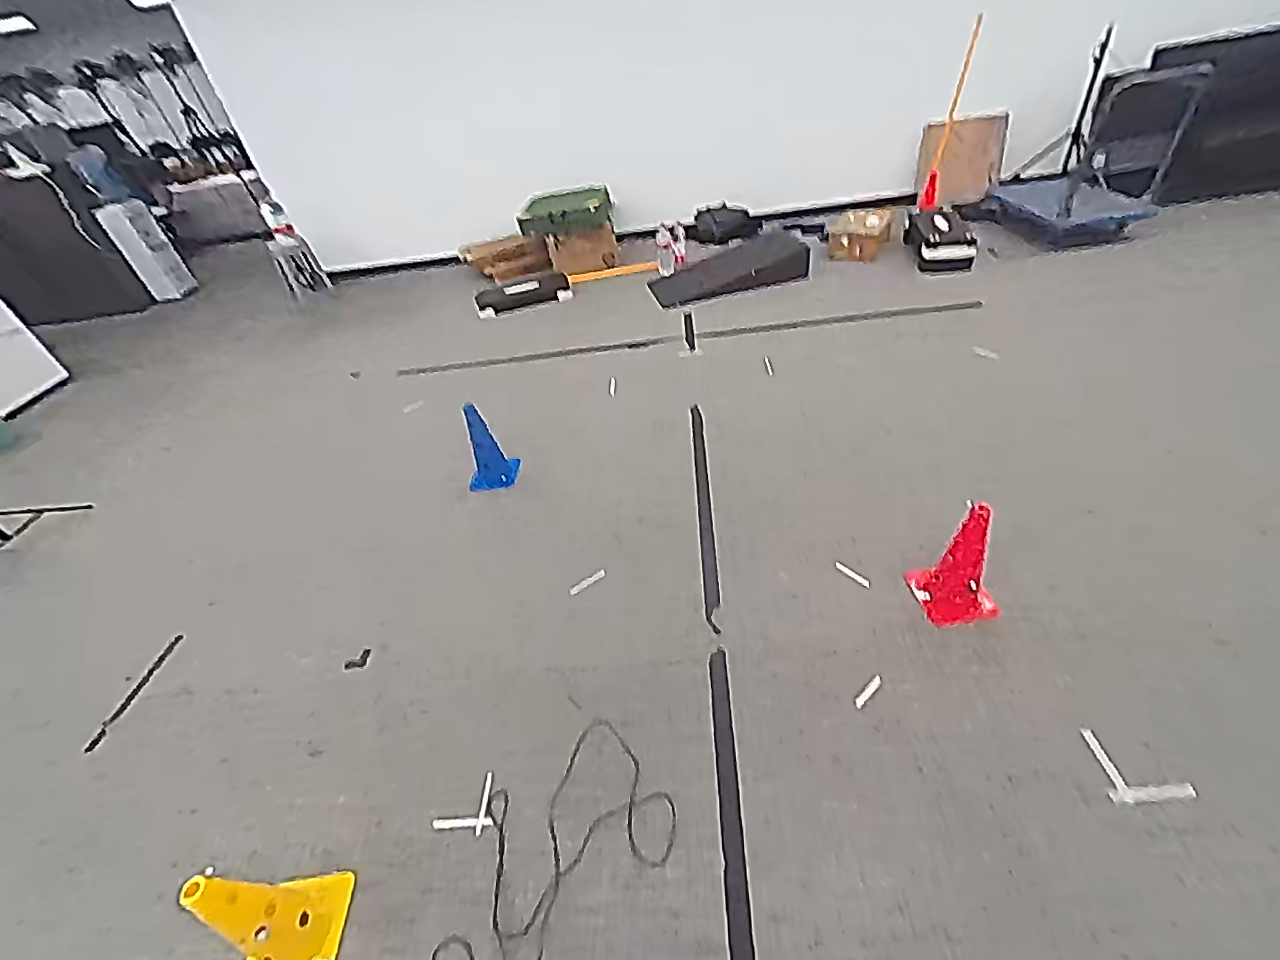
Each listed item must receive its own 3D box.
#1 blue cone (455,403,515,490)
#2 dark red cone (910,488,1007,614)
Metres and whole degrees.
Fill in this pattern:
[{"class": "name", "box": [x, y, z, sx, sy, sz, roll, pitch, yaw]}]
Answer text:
[{"class": "blue cone", "box": [-0.663, -0.152, 2.219, 0.192, 0.380, 0.193, -6, 40, 7]}, {"class": "dark red cone", "box": [0.893, 0.173, 1.464, 0.201, 0.394, 0.202, -11, 40, 1]}]
